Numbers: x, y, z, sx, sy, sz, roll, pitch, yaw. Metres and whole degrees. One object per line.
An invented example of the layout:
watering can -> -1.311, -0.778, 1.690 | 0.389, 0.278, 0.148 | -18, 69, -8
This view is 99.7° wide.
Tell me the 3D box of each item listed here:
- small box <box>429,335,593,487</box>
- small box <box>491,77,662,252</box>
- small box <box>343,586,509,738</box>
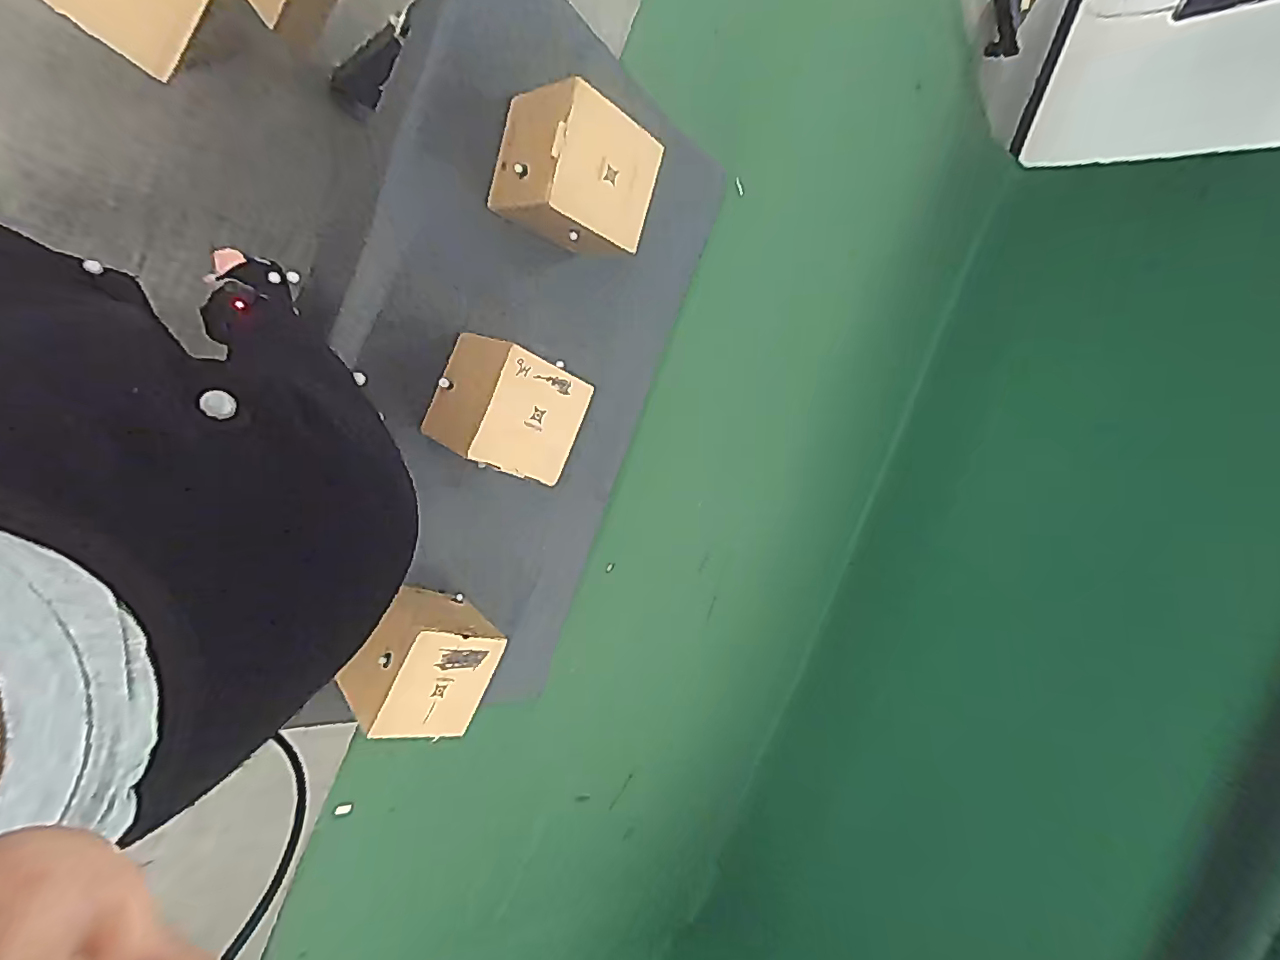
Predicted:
small box -> -0.211, -0.112, 0.862 | 0.168, 0.176, 0.179 | 22, 92, -47
small box -> -0.101, -0.463, 0.824 | 0.179, 0.176, 0.168 | 6, 104, -48
small box -> -0.356, 0.294, 0.888 | 0.168, 0.176, 0.179 | 28, 87, -46
